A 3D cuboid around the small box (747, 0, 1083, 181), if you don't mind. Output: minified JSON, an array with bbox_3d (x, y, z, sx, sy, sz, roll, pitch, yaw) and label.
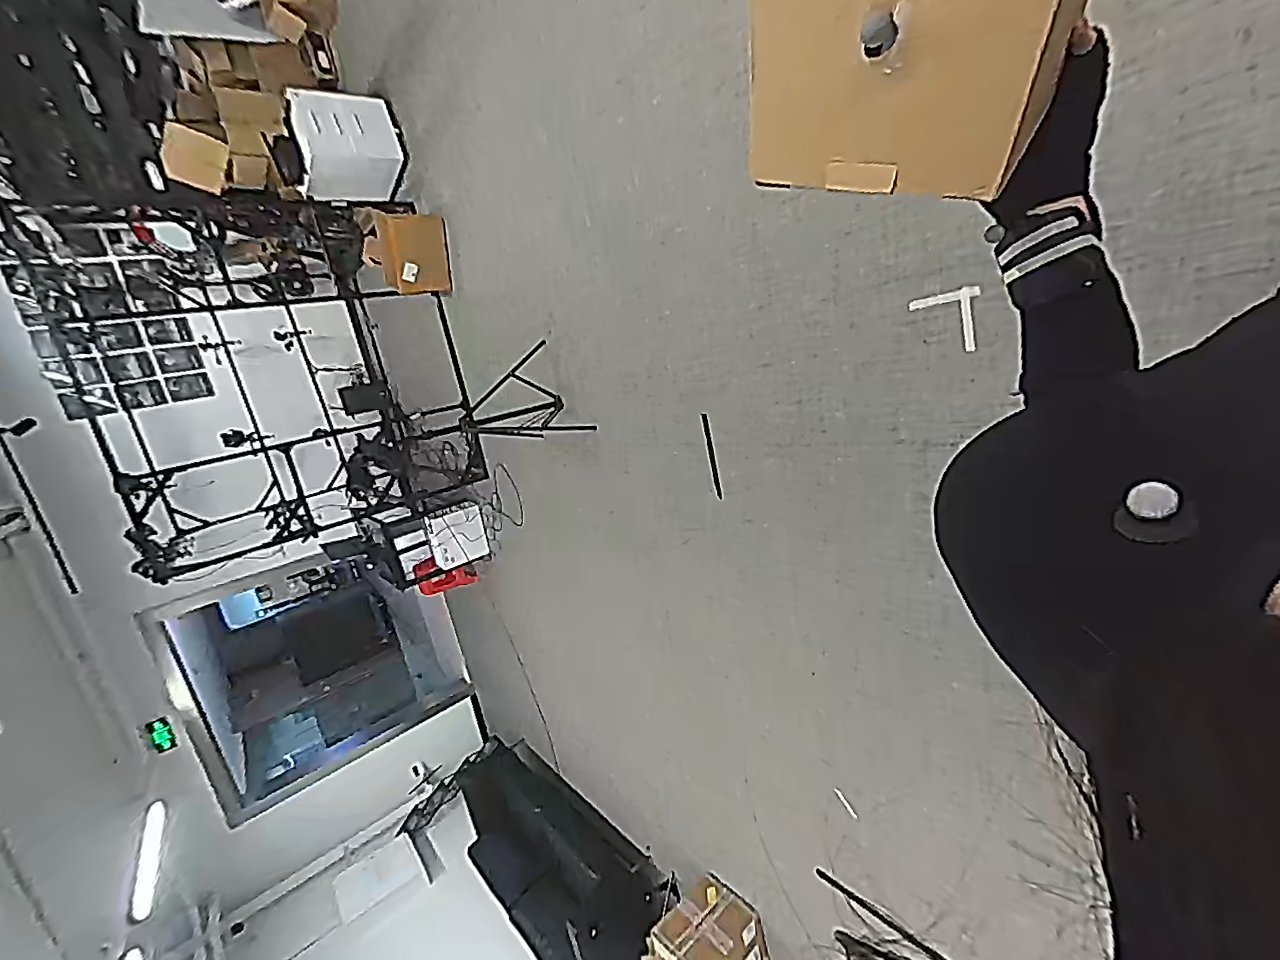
[{"bbox_3d":[0.171,-0.309,0.327,0.168,0.179,0.176,23,149,29],"label":"small box"}]
